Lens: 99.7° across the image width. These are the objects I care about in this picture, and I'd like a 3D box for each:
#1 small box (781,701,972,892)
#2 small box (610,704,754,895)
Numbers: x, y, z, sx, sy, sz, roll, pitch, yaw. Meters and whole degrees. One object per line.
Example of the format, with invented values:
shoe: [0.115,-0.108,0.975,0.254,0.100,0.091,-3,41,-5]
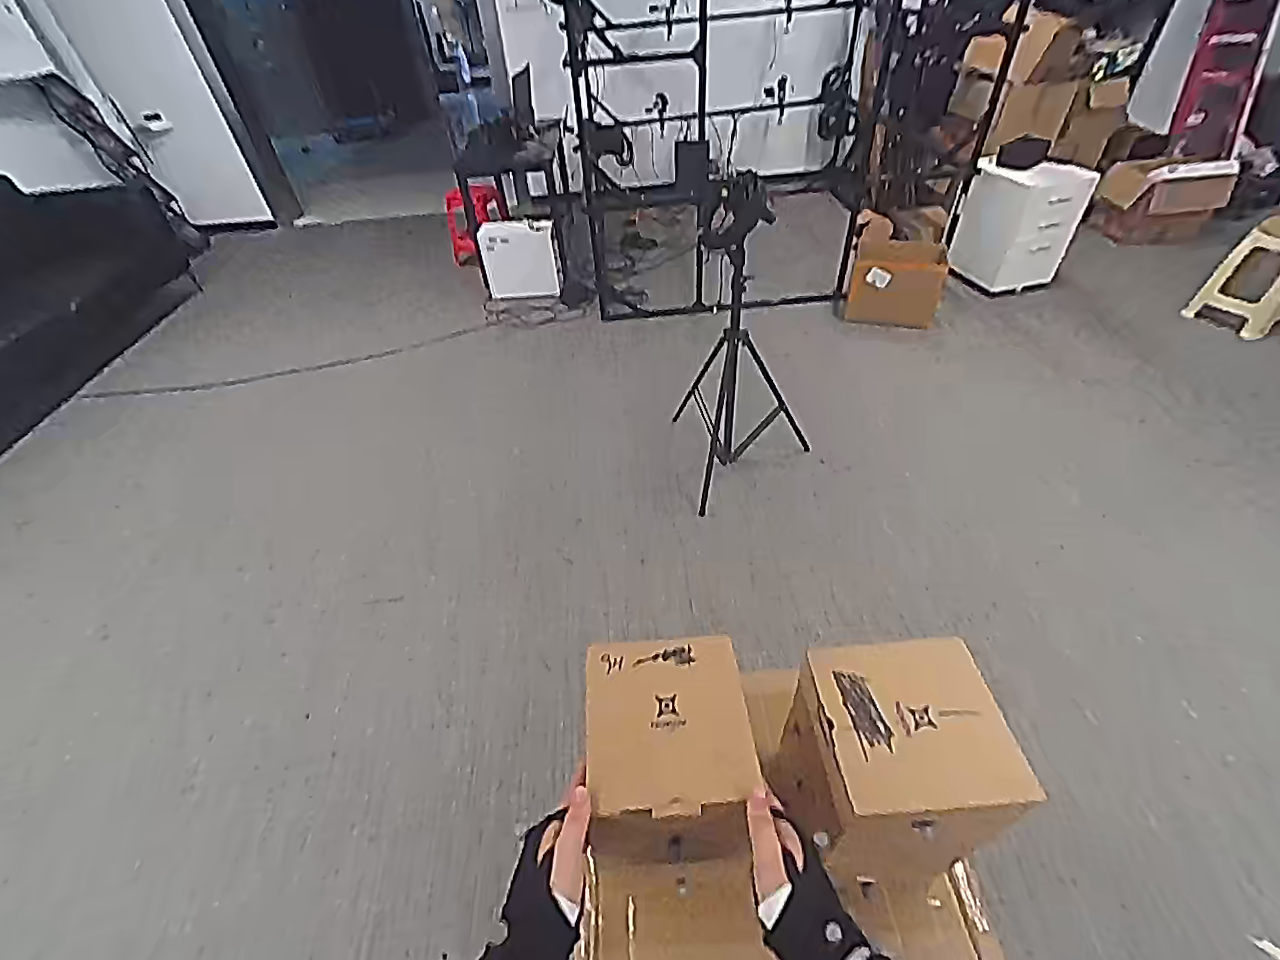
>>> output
small box: [0.291,0.418,0.715,0.168,0.176,0.179,-7,45,2]
small box: [0.047,0.427,0.726,0.168,0.176,0.179,-5,43,-1]
